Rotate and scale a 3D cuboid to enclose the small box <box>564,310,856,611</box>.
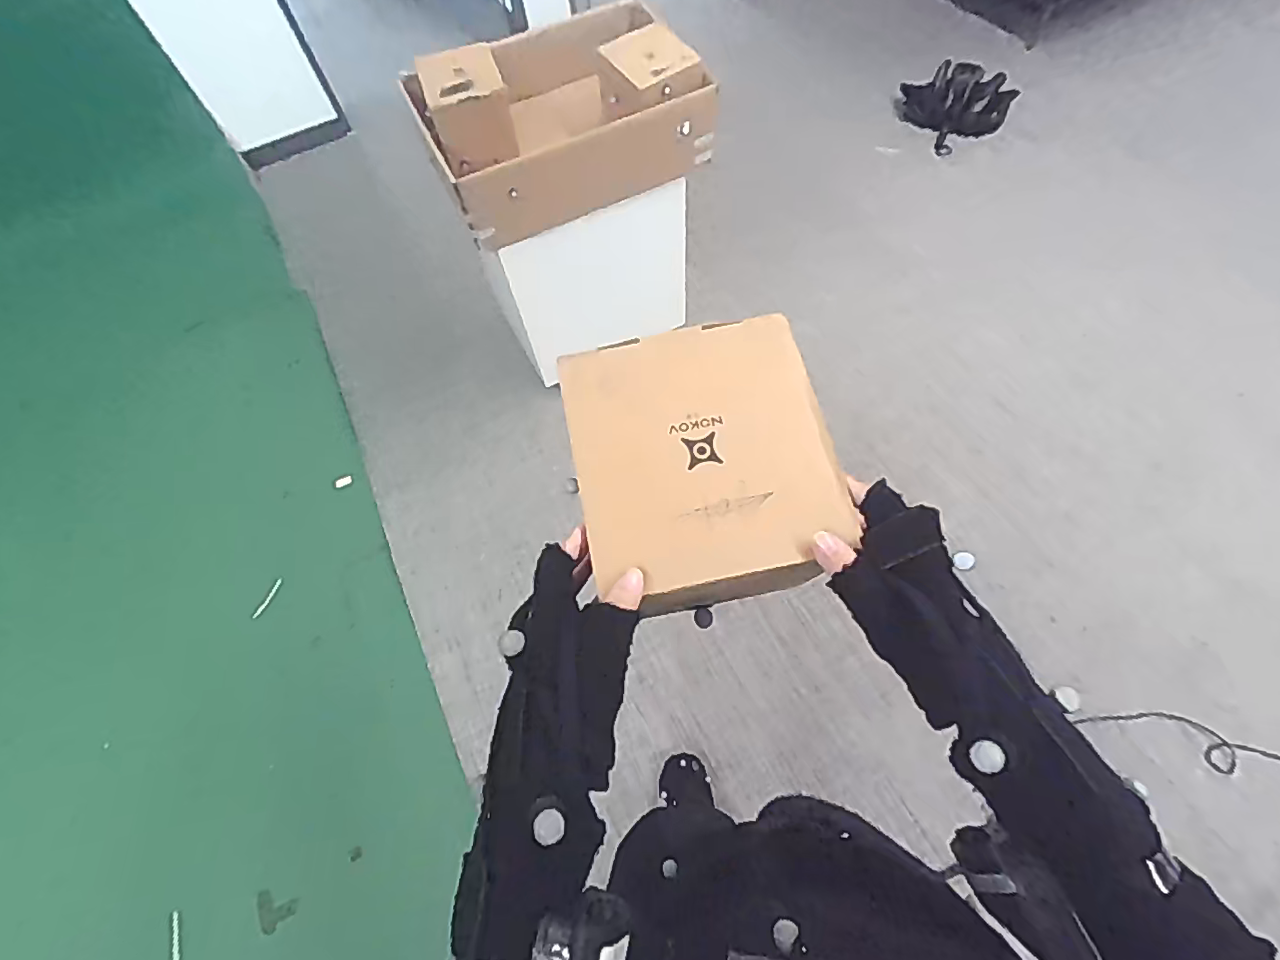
[{"bbox_3d":[0.041,-0.003,0.432,0.168,0.176,0.179,-11,71,-1],"label":"small box"}]
